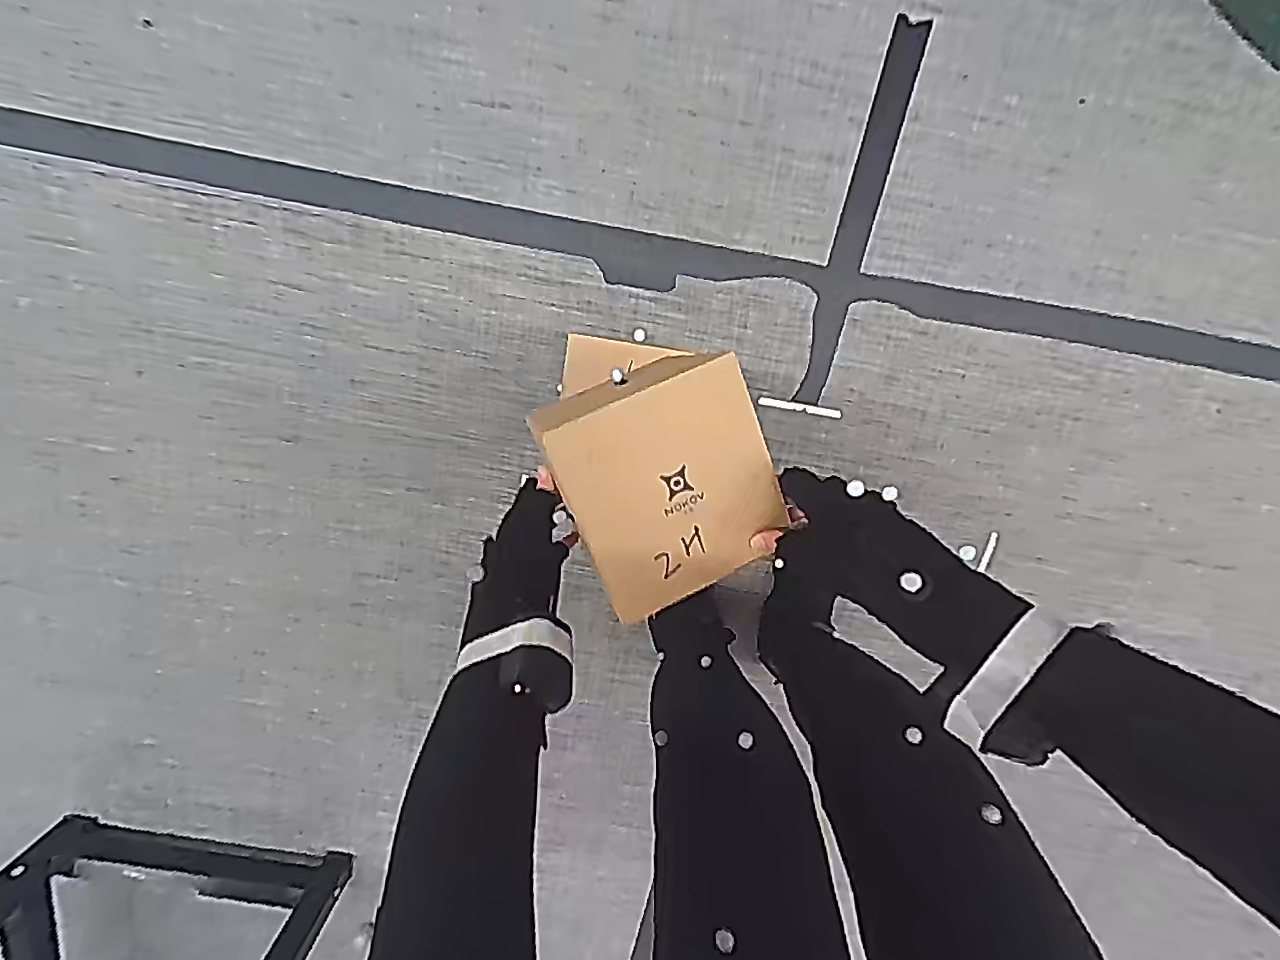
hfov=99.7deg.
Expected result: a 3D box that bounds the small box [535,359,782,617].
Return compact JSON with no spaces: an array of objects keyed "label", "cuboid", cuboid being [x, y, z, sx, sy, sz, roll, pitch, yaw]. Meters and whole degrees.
[{"label":"small box","cuboid":[0.007,-0.008,0.514,0.168,0.176,0.179,-20,108,-9]}]

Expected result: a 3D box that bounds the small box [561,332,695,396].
[{"label":"small box","cuboid":[-0.021,-0.111,0.778,0.168,0.176,0.179,8,105,-2]}]
